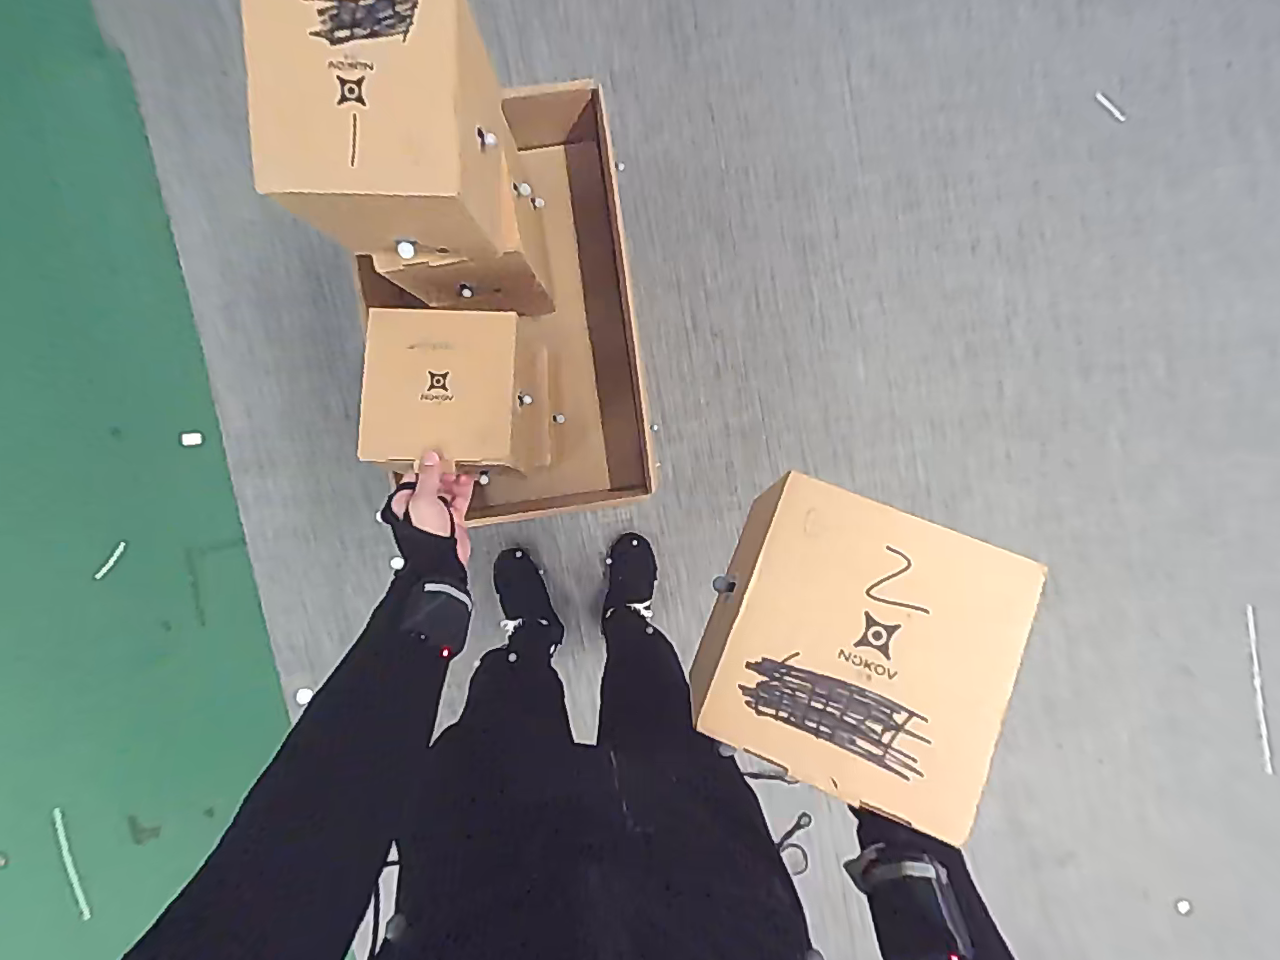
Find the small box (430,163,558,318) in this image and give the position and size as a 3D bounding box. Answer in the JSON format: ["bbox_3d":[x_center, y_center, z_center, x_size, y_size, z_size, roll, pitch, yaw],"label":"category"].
[{"bbox_3d":[-0.230,-0.356,0.844,0.168,0.176,0.179,-8,95,0],"label":"small box"}]

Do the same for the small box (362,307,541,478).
[{"bbox_3d":[-0.222,-0.098,0.682,0.168,0.176,0.179,2,82,-1],"label":"small box"}]

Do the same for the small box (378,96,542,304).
[{"bbox_3d":[-0.228,-0.339,0.683,0.168,0.176,0.179,-9,96,-1],"label":"small box"}]

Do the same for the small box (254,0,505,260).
[{"bbox_3d":[-0.230,-0.329,0.519,0.168,0.176,0.179,1,96,-1],"label":"small box"}]
